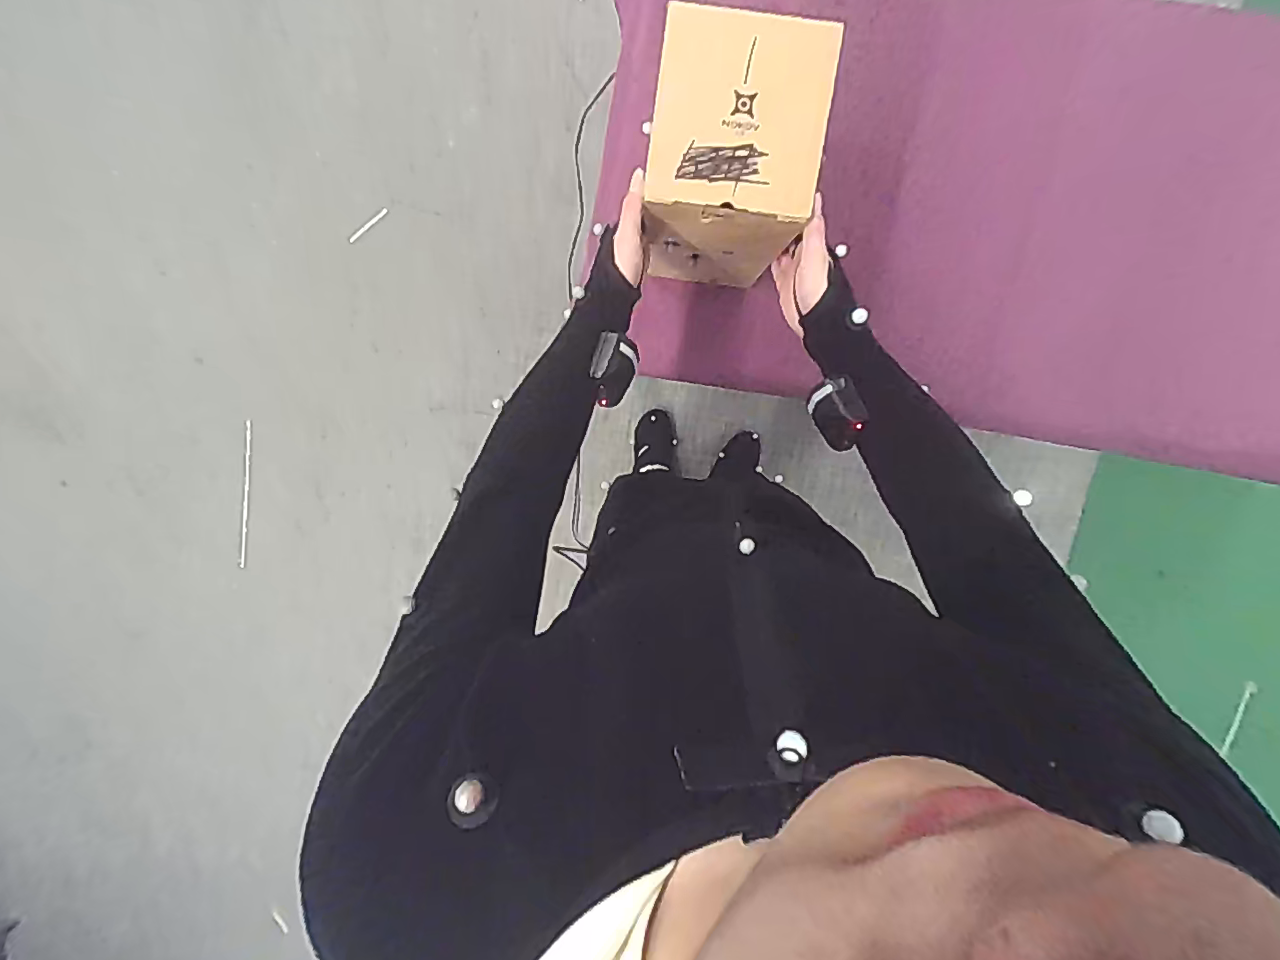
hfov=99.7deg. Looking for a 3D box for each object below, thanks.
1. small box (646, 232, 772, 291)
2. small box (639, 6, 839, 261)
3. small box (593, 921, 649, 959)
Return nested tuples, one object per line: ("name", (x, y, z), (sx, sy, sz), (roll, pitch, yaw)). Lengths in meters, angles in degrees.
("small box", (0.101, -0.379, 0.753), (0.168, 0.176, 0.179), (8, 98, 2))
("small box", (0.096, -0.354, 0.590), (0.168, 0.176, 0.179), (8, 98, 1))
("small box", (-0.067, 1.575, 1.725), (0.168, 0.176, 0.179), (14, 99, -1))
